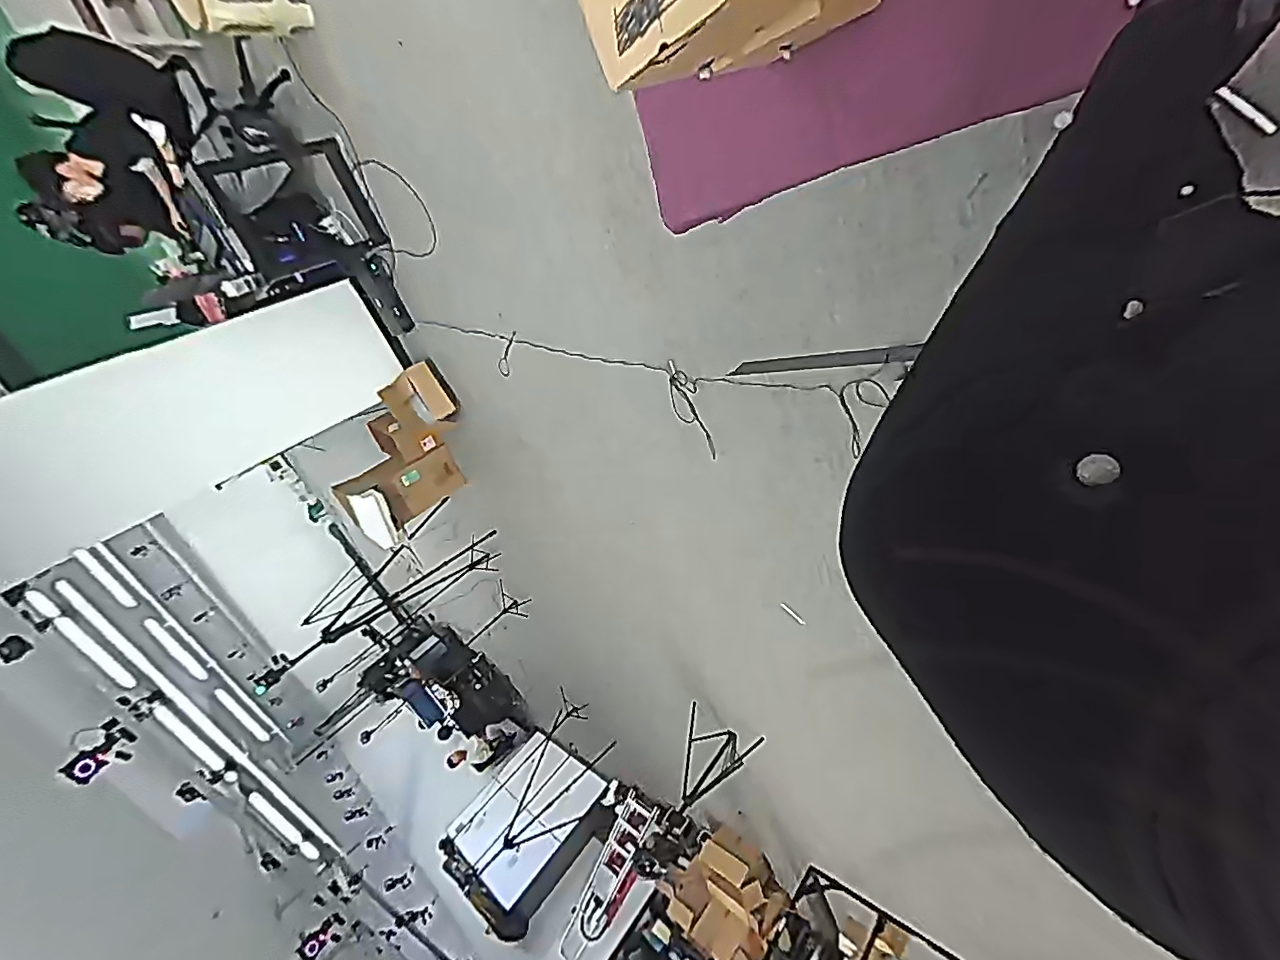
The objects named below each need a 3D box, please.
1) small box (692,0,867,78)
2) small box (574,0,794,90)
[{"bbox_3d":[0.150,-0.614,0.631,0.168,0.176,0.179,8,129,44],"label":"small box"},{"bbox_3d":[0.039,-0.535,0.539,0.168,0.176,0.179,4,125,47],"label":"small box"}]
